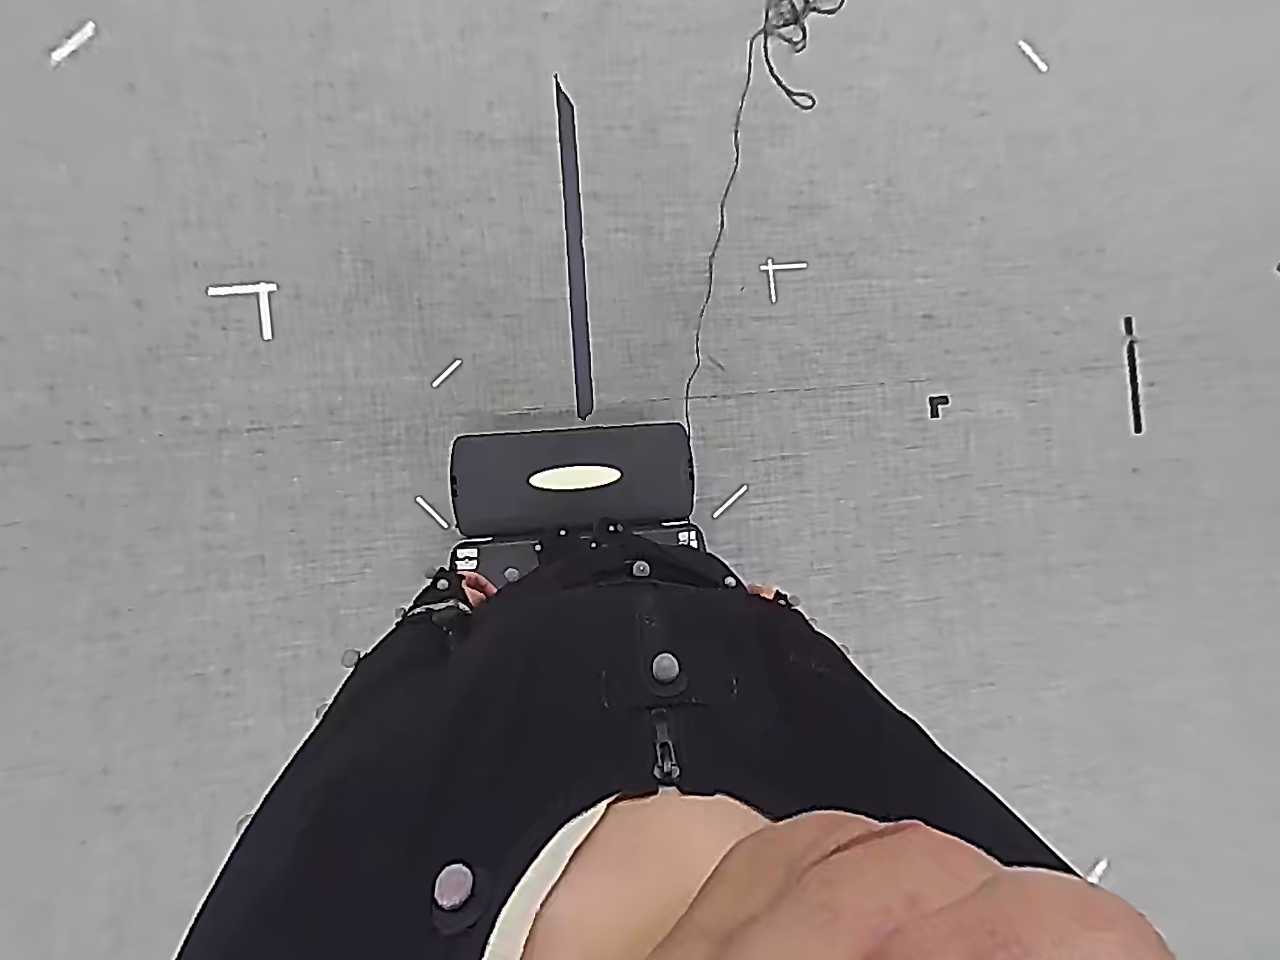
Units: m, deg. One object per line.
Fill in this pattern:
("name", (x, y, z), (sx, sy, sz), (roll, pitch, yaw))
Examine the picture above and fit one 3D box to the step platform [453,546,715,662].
("step platform", (-0.142, 0.326, 1.456), (0.684, 0.204, 0.286), (0, 85, -6))
